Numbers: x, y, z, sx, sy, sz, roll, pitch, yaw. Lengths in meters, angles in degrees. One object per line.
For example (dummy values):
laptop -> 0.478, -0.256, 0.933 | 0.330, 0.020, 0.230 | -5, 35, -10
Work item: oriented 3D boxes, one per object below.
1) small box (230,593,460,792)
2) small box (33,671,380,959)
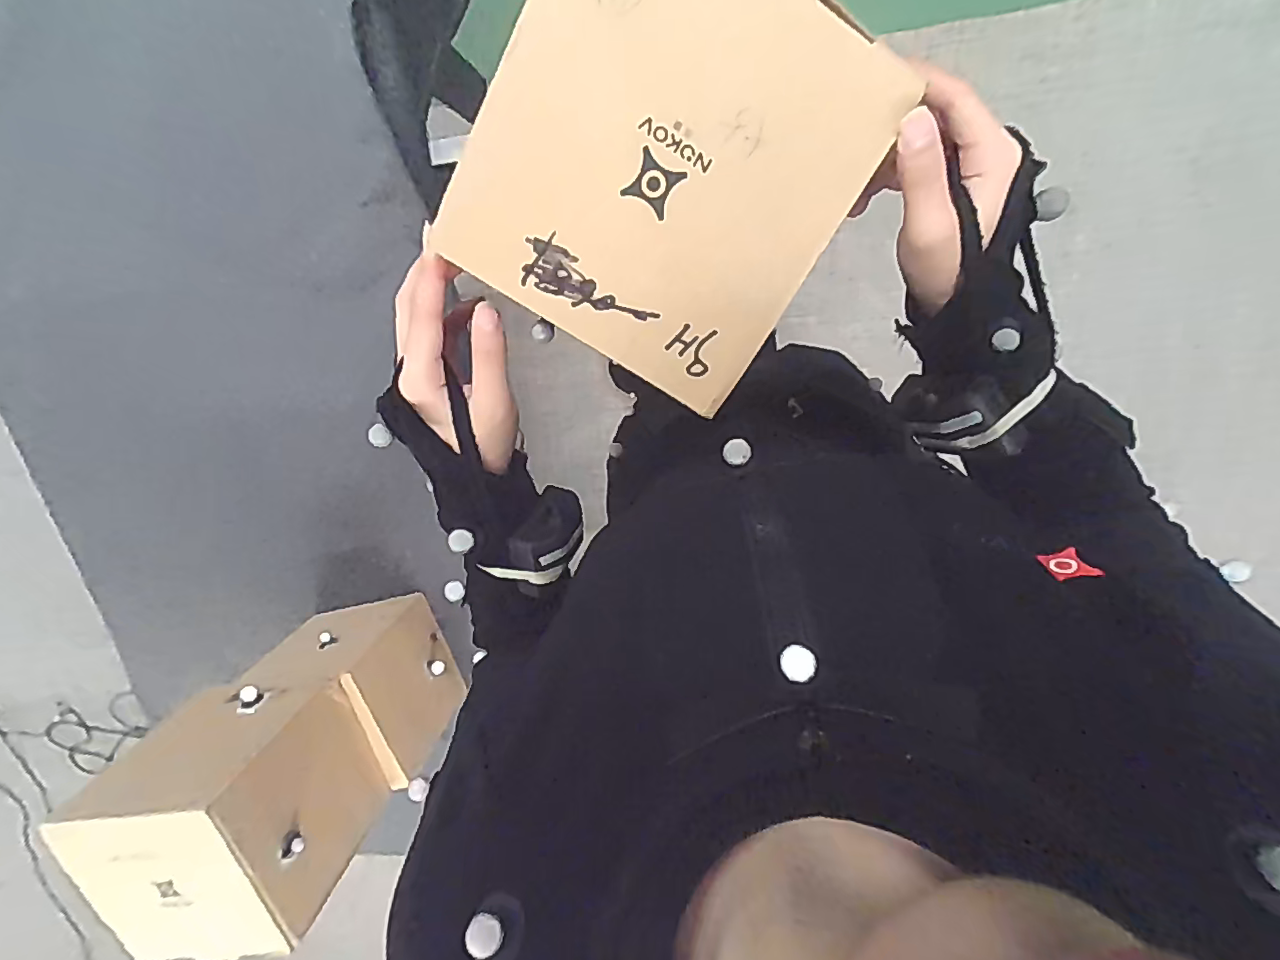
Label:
small box -> -0.360, 0.266, 0.680 | 0.179, 0.176, 0.168 | -14, 108, 10
small box -> -0.391, 0.317, 0.529 | 0.168, 0.176, 0.179 | -10, 107, 8
